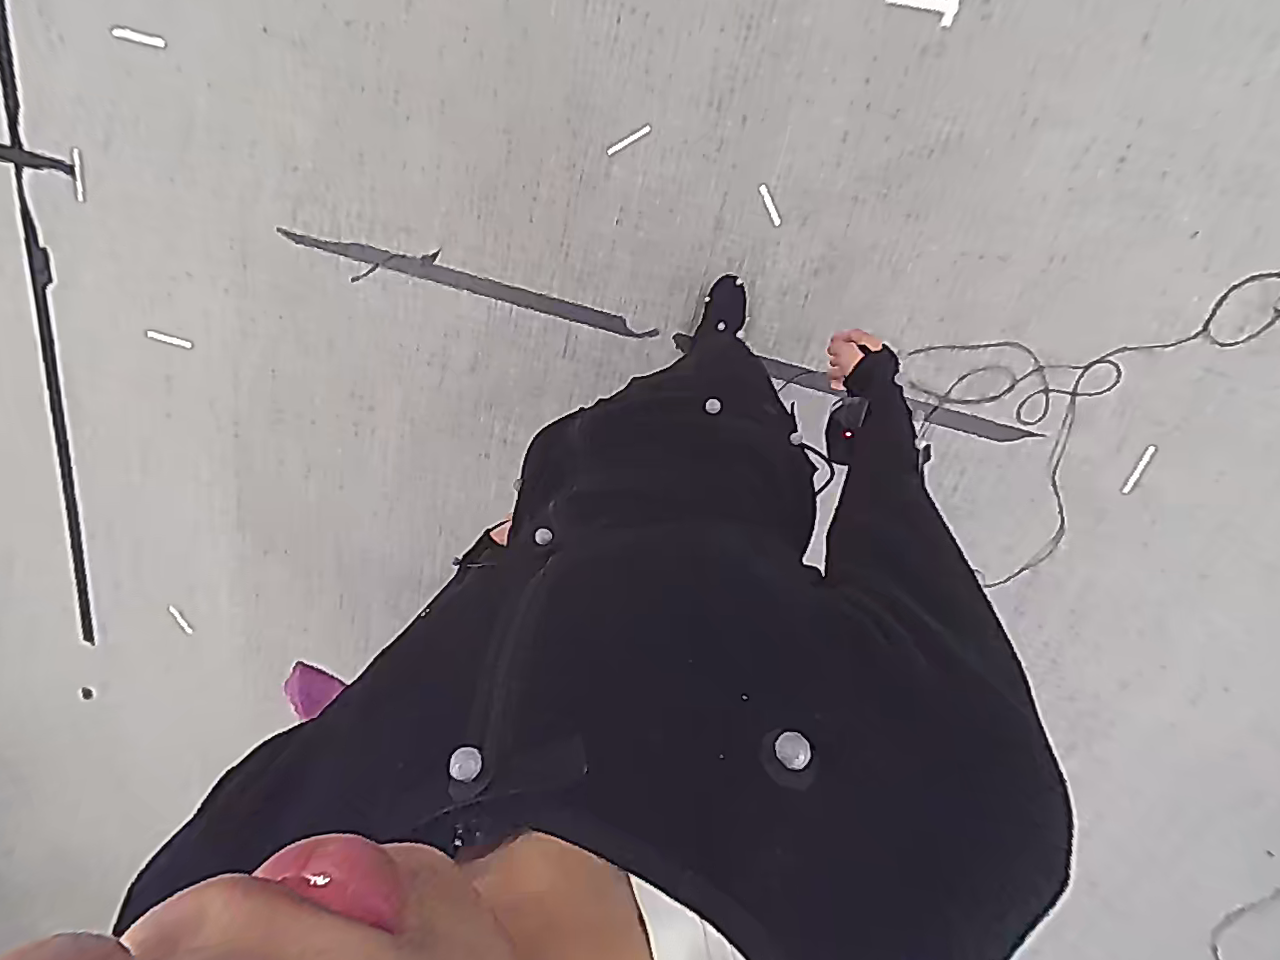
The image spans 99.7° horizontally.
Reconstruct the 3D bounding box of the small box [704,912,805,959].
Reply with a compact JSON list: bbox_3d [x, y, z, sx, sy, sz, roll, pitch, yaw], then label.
[{"bbox_3d":[0.235,1.038,1.106,0.179,0.176,0.168,18,111,2],"label":"small box"}]
